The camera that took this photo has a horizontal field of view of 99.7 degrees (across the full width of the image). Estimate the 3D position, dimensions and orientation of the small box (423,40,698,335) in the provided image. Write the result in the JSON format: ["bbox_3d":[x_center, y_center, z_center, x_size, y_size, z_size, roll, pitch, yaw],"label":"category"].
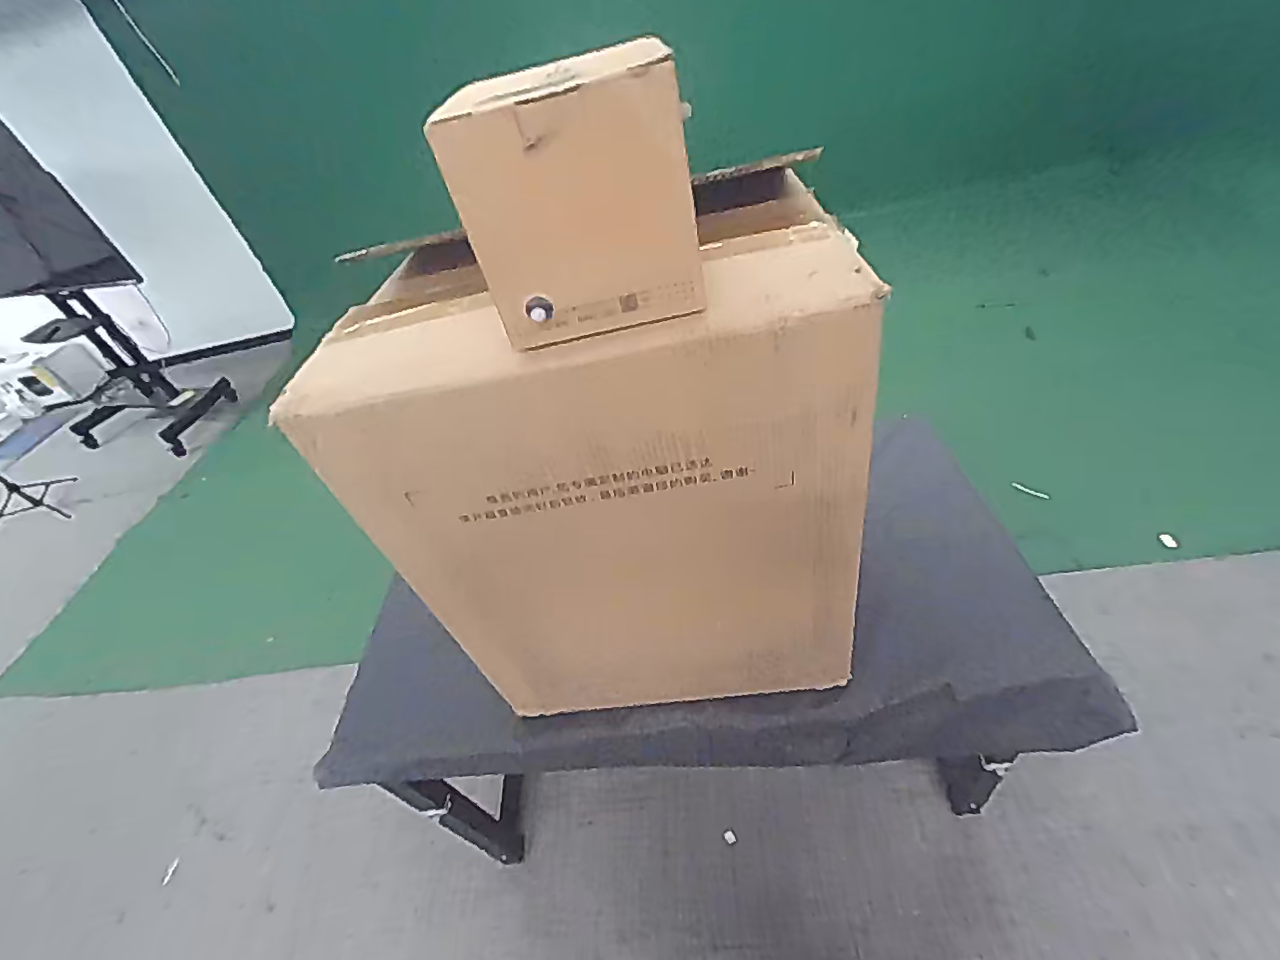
[{"bbox_3d":[-0.049,-0.236,0.455,0.168,0.176,0.179,-10,42,6],"label":"small box"}]
